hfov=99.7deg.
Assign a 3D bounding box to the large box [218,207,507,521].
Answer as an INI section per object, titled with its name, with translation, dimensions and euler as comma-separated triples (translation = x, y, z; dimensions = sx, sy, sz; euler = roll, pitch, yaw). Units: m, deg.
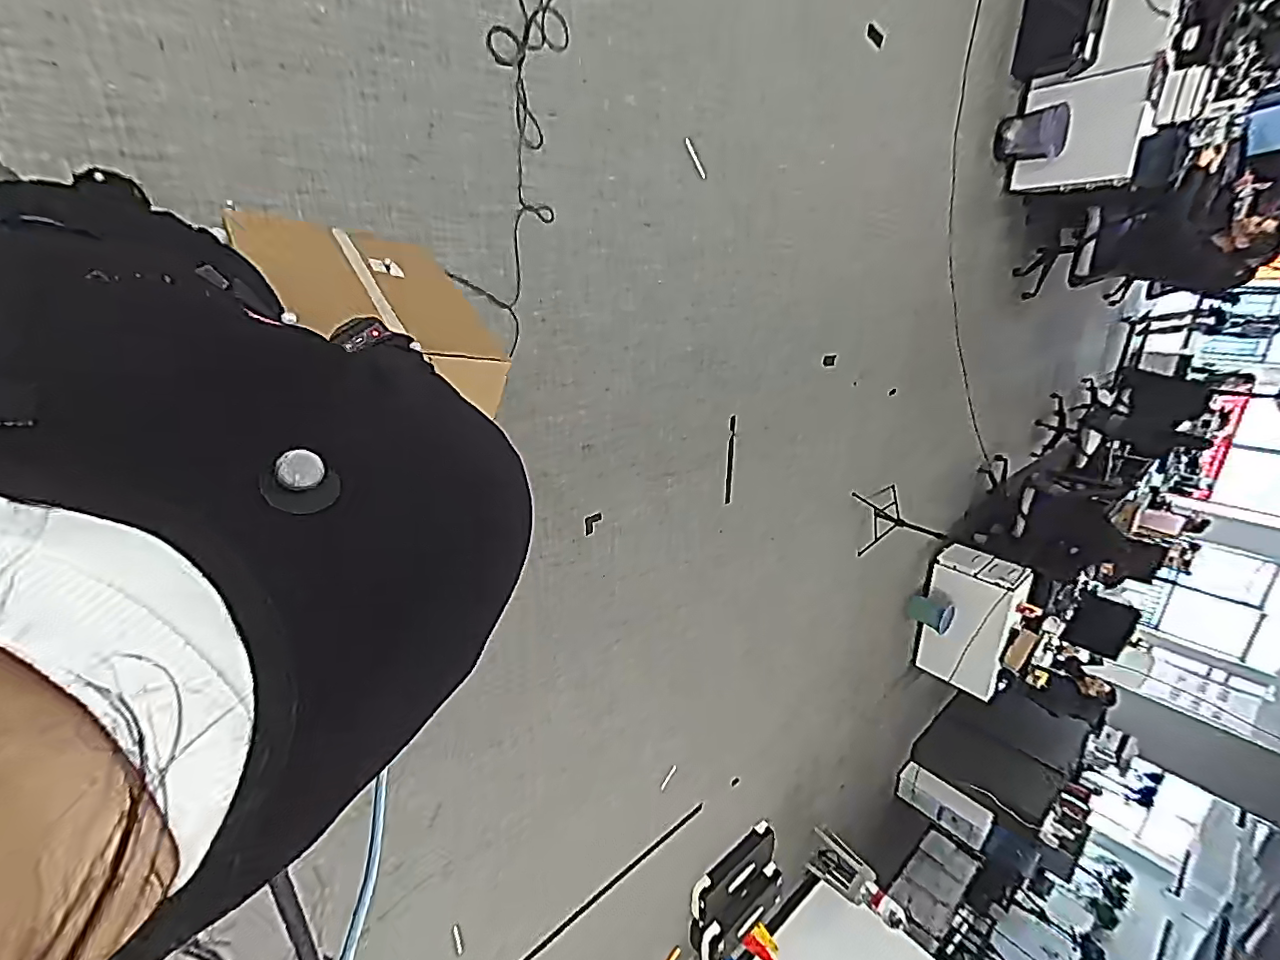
[large box]
translation = -0.479, -0.191, 0.904
dimensions = 0.320, 0.408, 0.320
euler = -6, 135, -43
